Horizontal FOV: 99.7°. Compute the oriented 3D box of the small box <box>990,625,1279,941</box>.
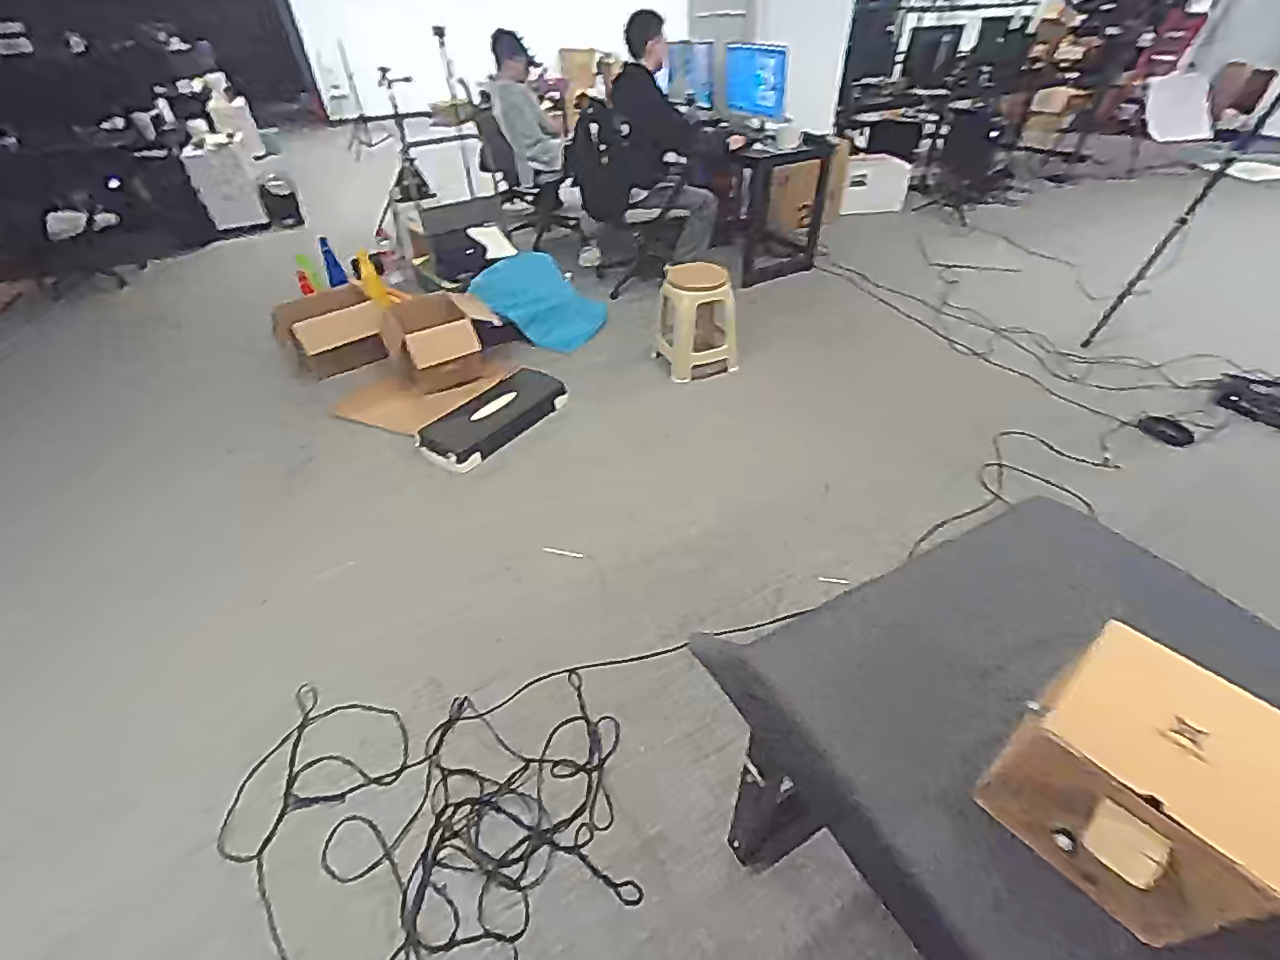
[{"bbox_3d":[0.477,0.283,0.517,0.179,0.176,0.168,-30,48,-28],"label":"small box"}]
